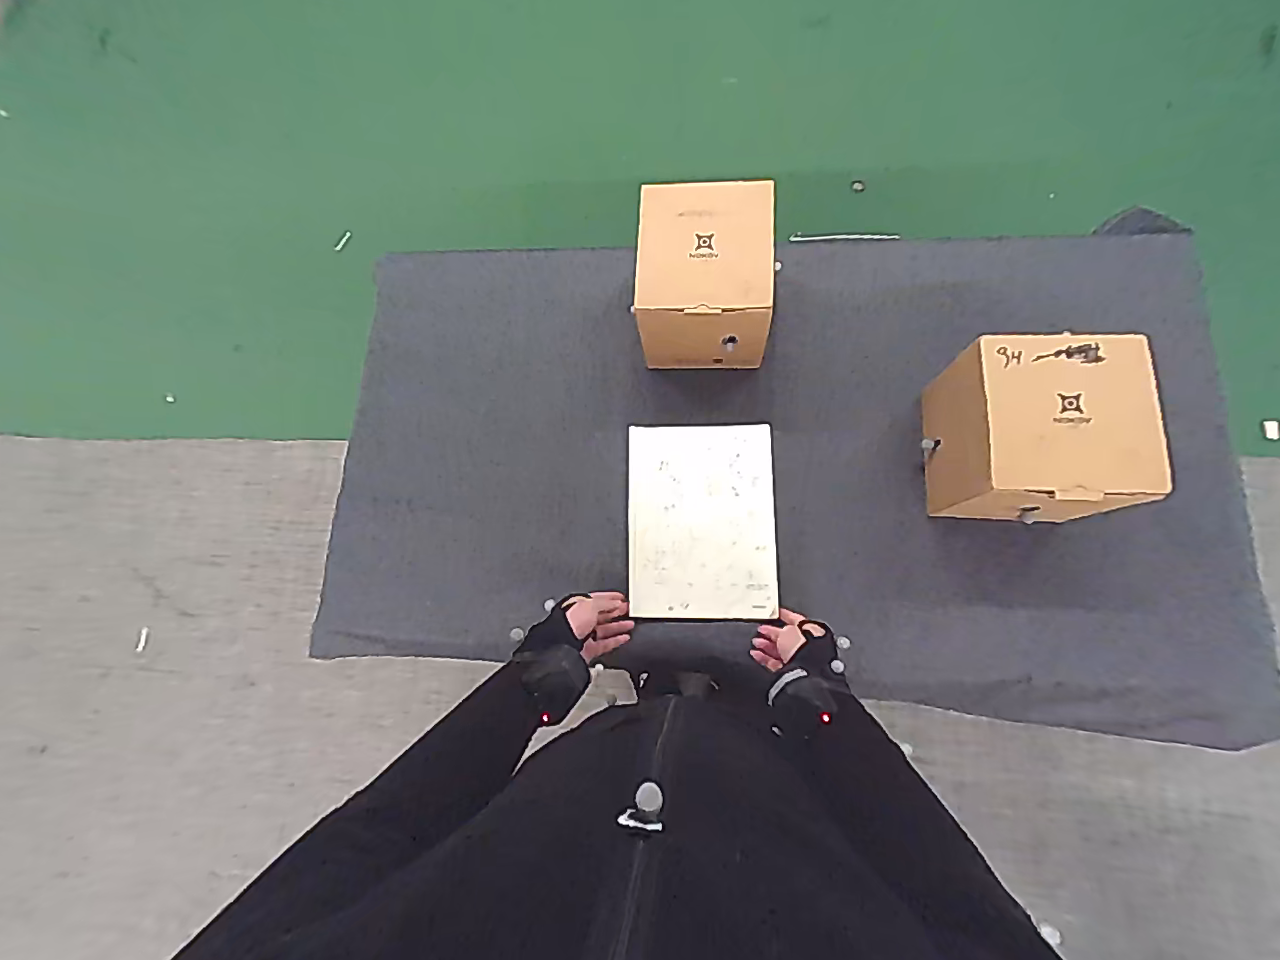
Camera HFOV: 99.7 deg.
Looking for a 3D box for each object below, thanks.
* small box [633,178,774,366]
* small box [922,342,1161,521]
[{"bbox_3d":[0.085,-0.262,0.717,0.168,0.176,0.179,1,77,6],"label":"small box"},{"bbox_3d":[0.452,-0.047,0.641,0.168,0.176,0.179,2,79,7],"label":"small box"}]
